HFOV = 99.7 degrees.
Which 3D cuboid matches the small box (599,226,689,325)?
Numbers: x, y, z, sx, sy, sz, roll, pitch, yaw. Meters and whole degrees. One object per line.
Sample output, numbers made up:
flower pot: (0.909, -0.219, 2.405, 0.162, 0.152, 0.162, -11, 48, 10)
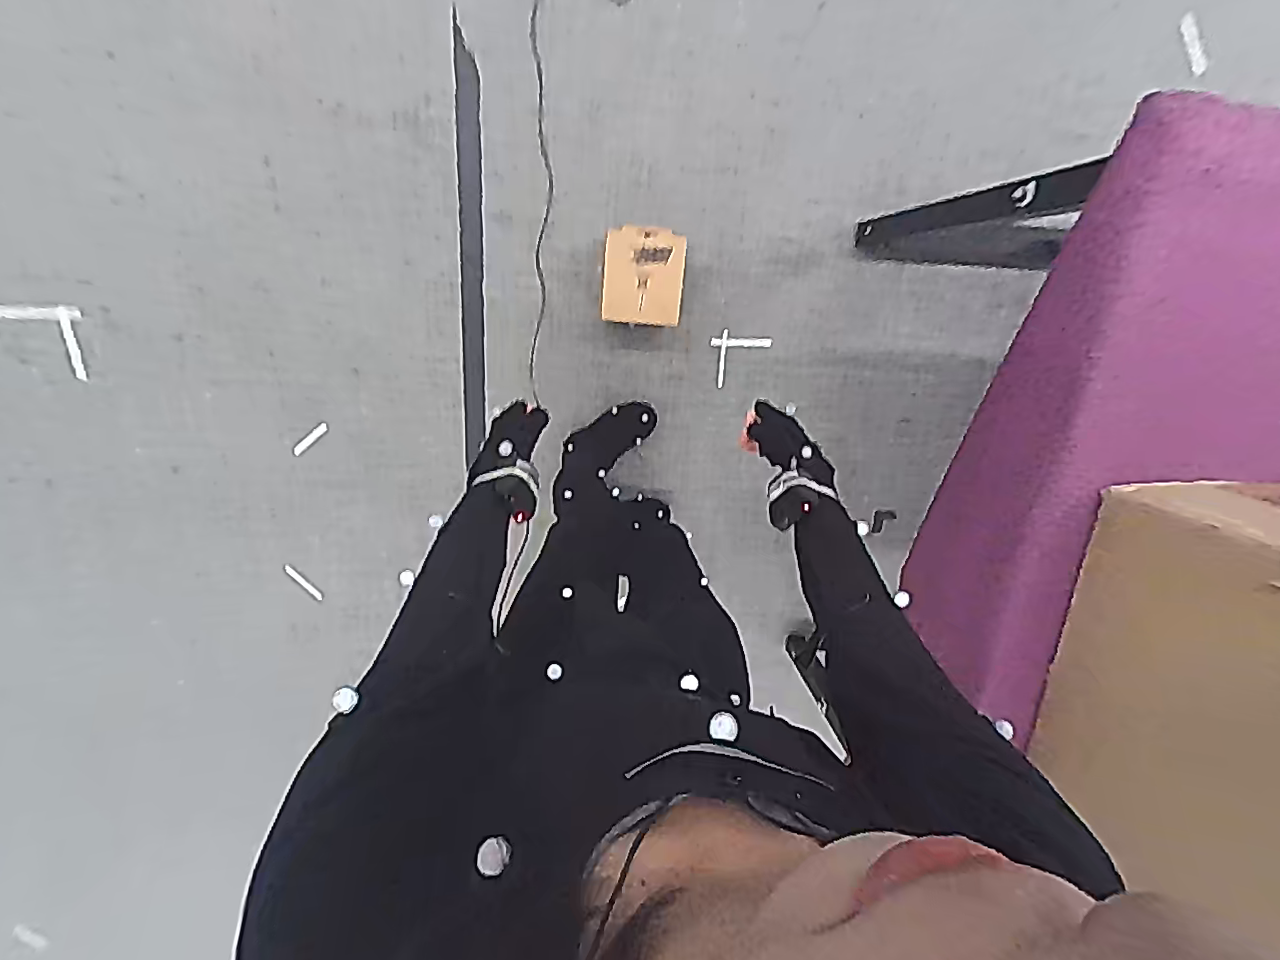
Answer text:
small box: (0.000, -0.437, 1.174, 0.168, 0.176, 0.179, 3, 108, -8)
